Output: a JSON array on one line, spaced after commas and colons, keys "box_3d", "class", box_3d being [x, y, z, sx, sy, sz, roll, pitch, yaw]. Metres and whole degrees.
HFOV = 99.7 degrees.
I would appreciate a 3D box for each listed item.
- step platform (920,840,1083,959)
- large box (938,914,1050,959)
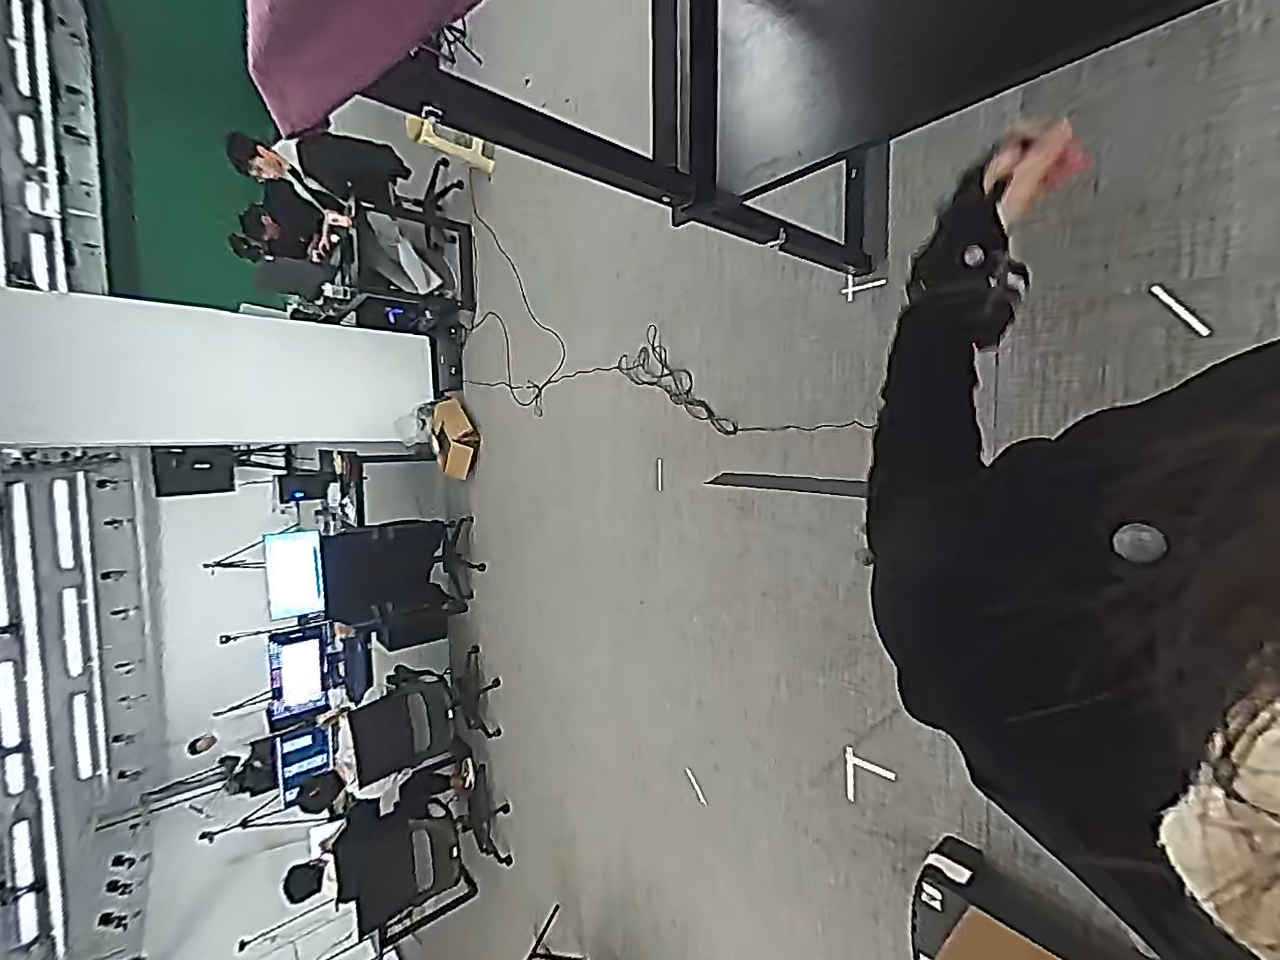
[{"box_3d": [0.987, 1.150, 1.172, 0.684, 0.204, 0.286, 14, 103, 49], "class": "step platform"}, {"box_3d": [0.792, 1.178, 1.036, 0.408, 0.320, 0.320, 6, 98, 49], "class": "large box"}]
